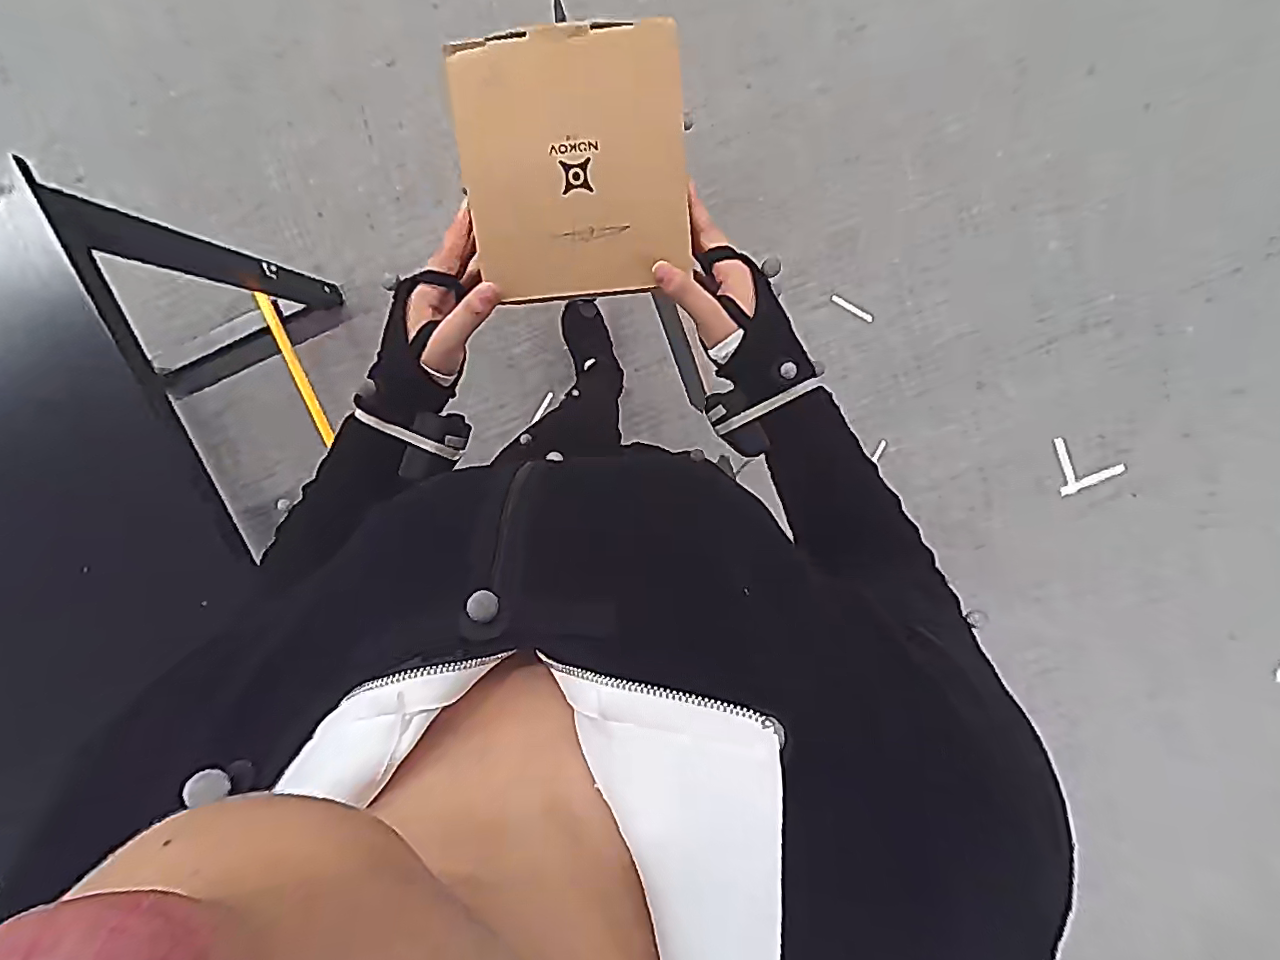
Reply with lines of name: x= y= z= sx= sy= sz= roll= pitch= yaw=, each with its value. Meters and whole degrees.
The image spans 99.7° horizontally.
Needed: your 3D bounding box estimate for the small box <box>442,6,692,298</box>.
small box: x=-0.049 y=-0.255 z=0.465 sx=0.168 sy=0.176 sz=0.179 roll=-5 pitch=109 yaw=1
